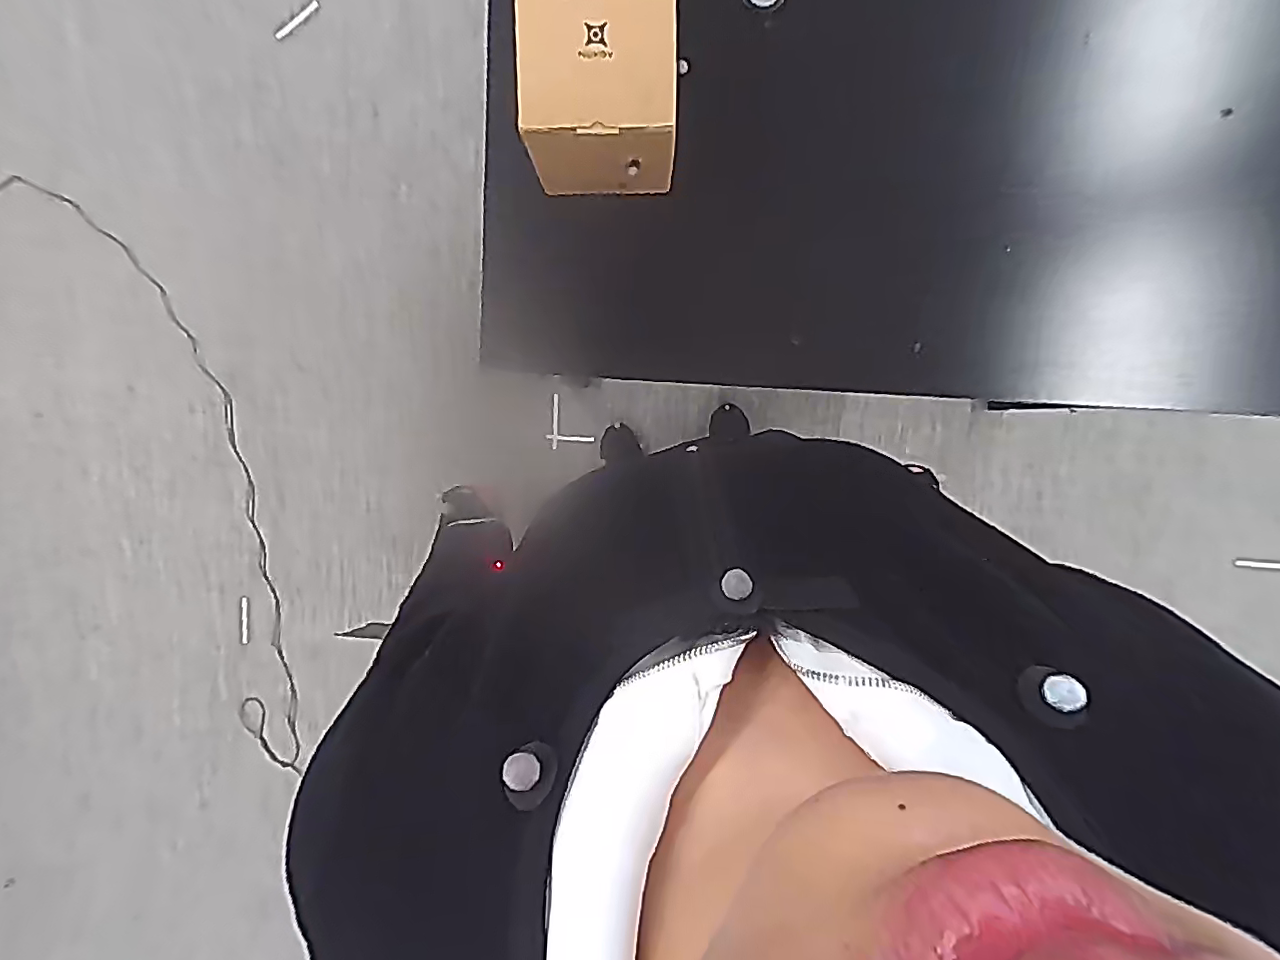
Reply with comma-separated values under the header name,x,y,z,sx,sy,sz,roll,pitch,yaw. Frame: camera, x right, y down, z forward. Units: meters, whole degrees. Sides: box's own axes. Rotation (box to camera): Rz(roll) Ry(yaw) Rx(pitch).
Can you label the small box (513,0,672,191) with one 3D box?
name,x,y,z,sx,sy,sz,roll,pitch,yaw
small box,-0.048,-0.460,0.635,0.168,0.176,0.179,-1,96,-1
